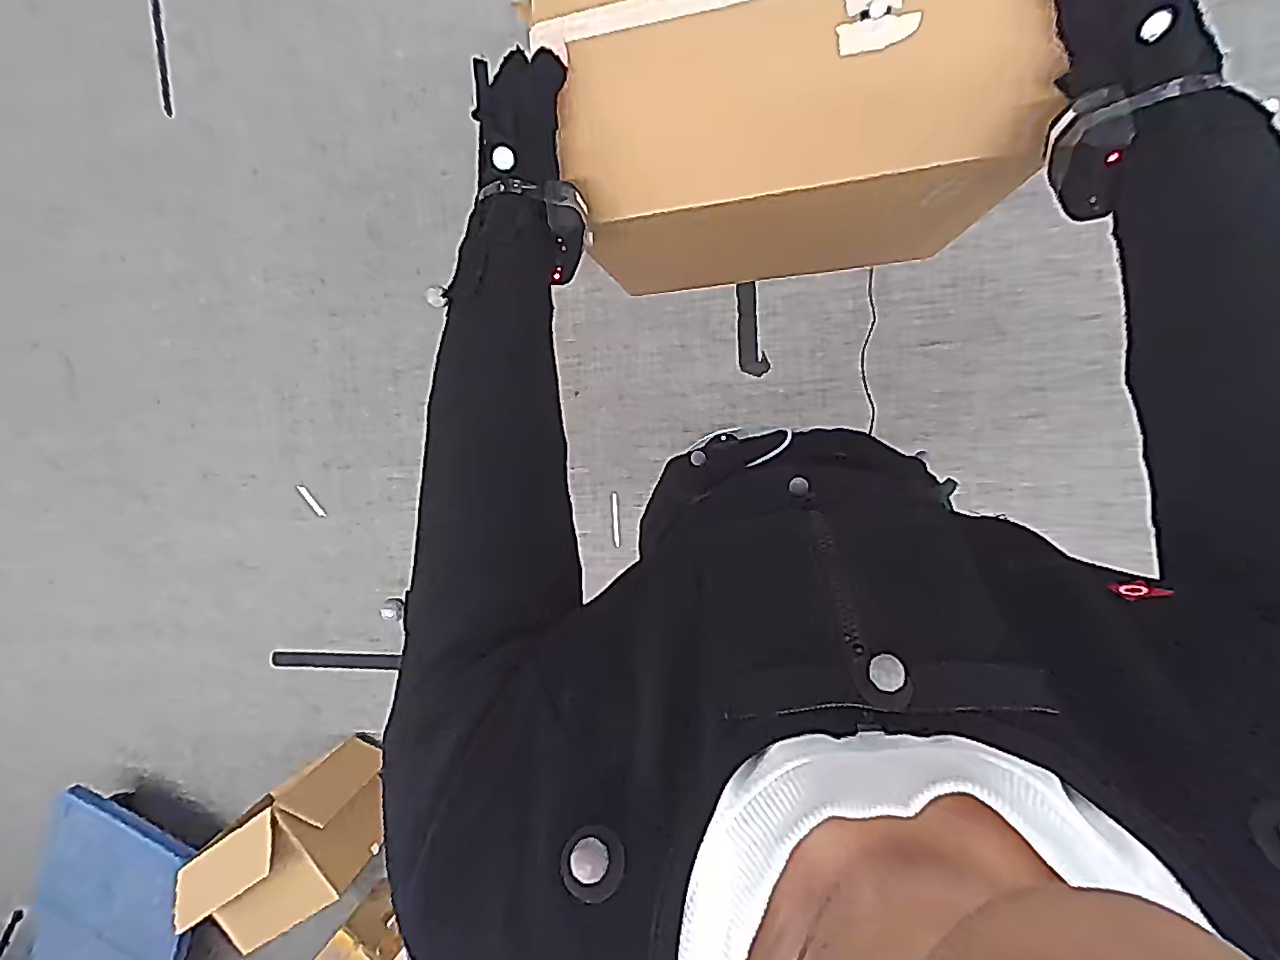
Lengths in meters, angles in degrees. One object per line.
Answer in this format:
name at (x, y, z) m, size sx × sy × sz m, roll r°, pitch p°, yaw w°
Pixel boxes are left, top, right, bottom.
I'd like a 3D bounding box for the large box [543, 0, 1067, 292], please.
large box at (0.138, -0.416, 0.575) m, size 0.408 × 0.320 × 0.320 m, roll -4°, pitch 97°, yaw 10°
